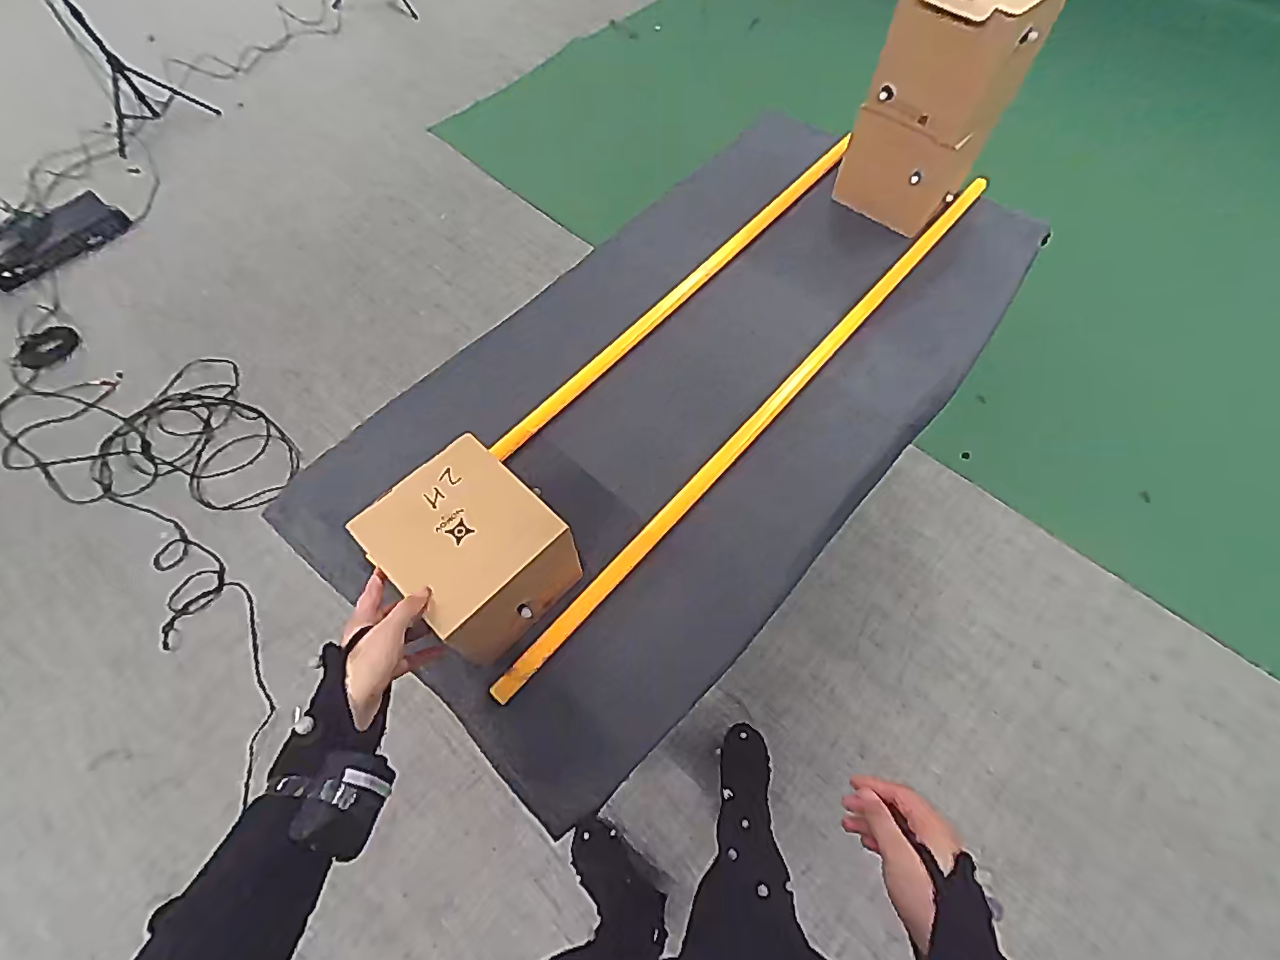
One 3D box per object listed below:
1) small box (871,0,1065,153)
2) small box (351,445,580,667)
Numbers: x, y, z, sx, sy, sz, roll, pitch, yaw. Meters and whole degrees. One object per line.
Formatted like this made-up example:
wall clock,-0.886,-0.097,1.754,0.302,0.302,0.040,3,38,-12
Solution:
small box,0.475,-0.631,0.807,0.179,0.176,0.168,-41,70,-17
small box,-0.188,0.098,0.638,0.179,0.176,0.168,40,68,19
